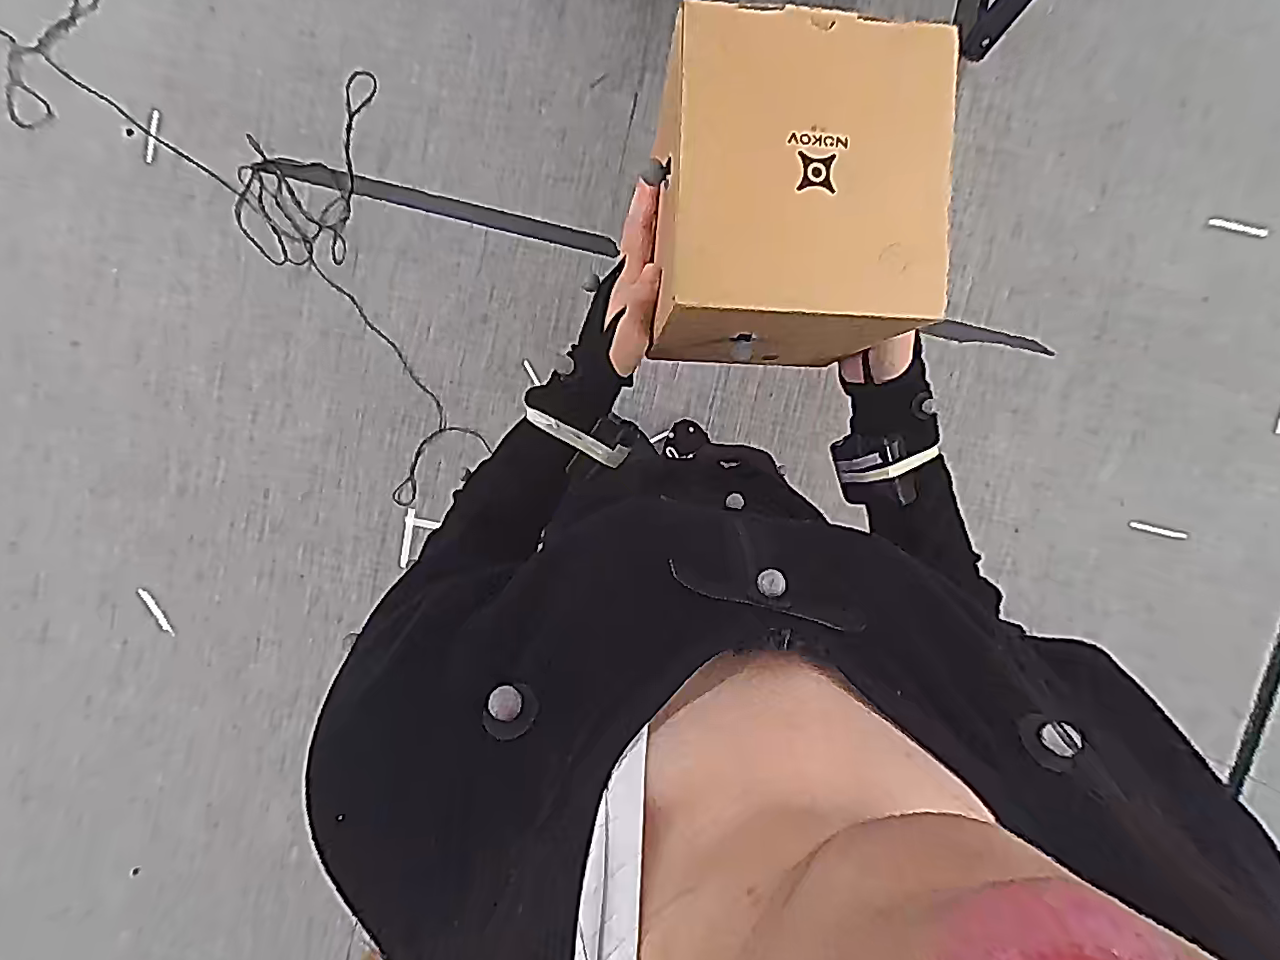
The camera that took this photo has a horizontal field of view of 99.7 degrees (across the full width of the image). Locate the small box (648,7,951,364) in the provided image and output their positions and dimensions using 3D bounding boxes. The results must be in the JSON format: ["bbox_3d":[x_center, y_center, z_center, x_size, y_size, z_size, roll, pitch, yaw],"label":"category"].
[{"bbox_3d":[0.097,-0.188,0.400,0.168,0.176,0.179,1,91,-5],"label":"small box"}]
